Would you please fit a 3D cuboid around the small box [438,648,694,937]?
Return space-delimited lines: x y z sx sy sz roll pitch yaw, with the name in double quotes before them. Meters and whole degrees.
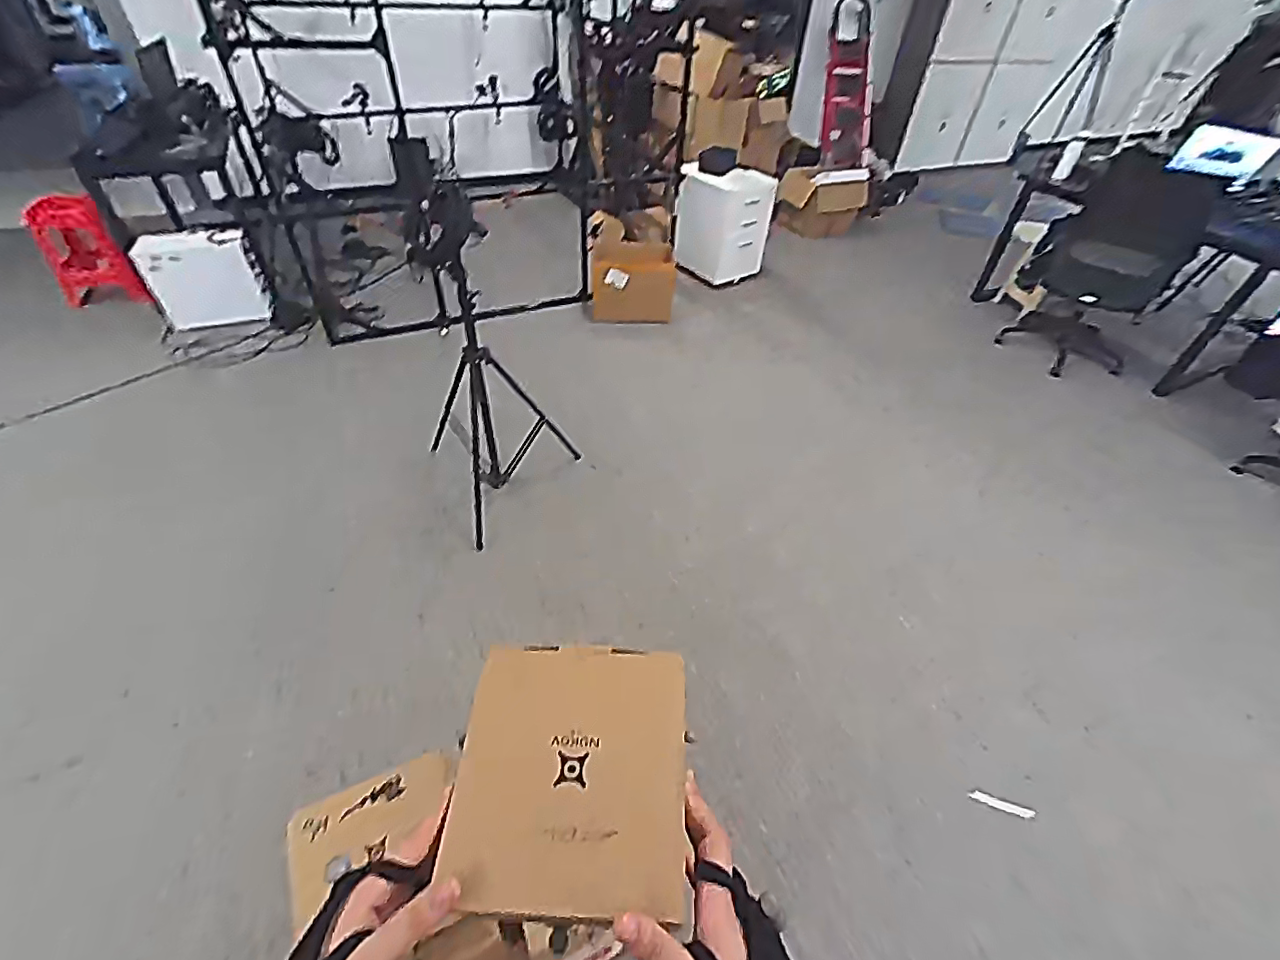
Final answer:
"small box" -0.043 0.262 0.453 0.168 0.176 0.179 1 49 3

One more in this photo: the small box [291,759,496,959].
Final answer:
"small box" -0.276 0.466 0.627 0.168 0.176 0.179 -18 51 -20

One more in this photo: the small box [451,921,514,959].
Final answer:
"small box" -0.282 0.590 0.734 0.168 0.176 0.179 -20 51 -21
